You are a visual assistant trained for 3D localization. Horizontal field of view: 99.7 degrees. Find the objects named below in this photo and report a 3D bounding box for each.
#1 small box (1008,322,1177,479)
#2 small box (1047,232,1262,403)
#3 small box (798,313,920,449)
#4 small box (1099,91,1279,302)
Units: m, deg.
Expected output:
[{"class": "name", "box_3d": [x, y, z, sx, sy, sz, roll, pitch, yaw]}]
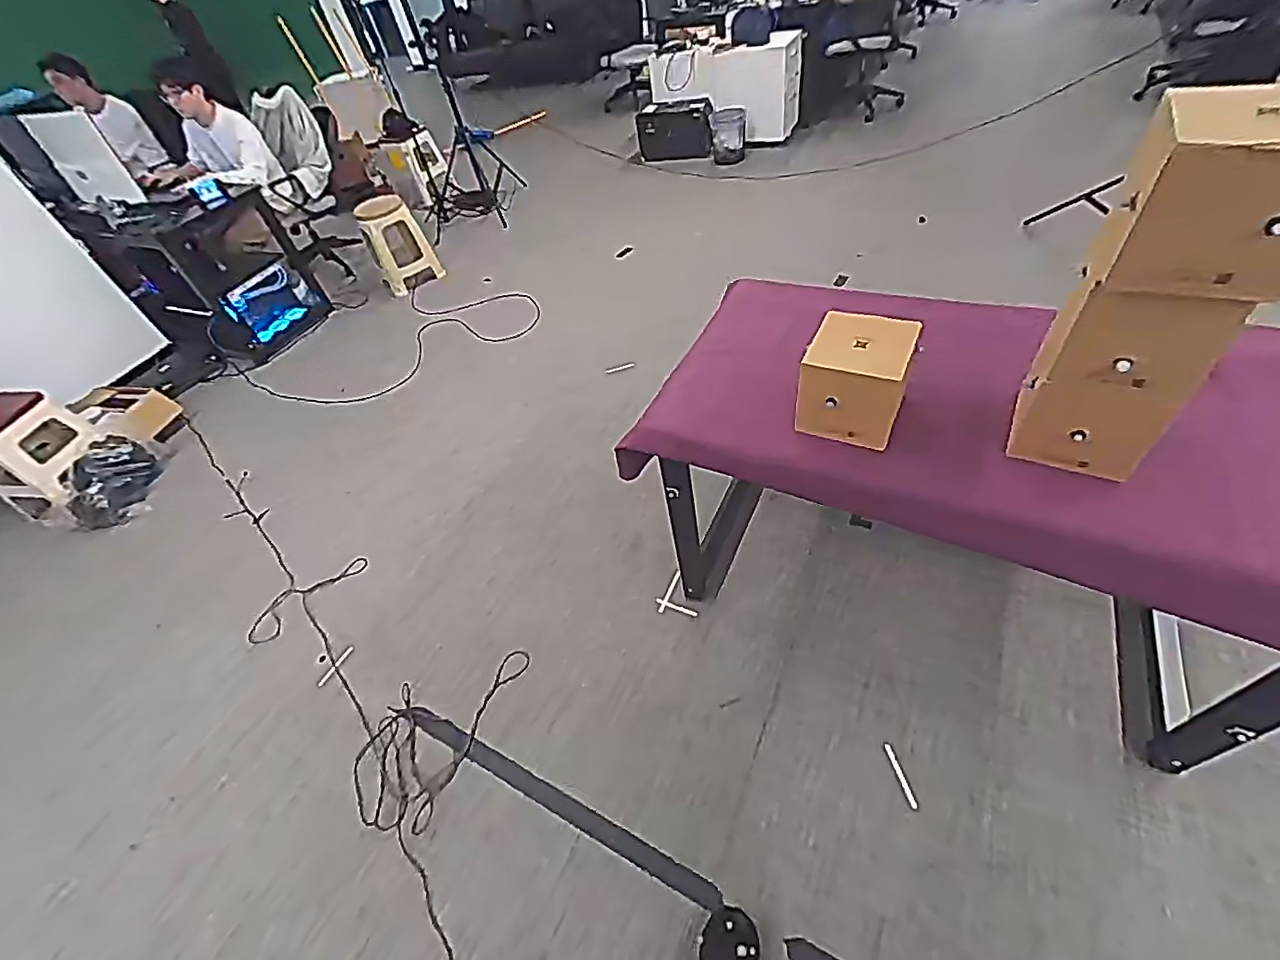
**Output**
[{"class": "small box", "box_3d": [0.729, -0.128, 0.884, 0.168, 0.176, 0.179, 19, 55, 25]}, {"class": "small box", "box_3d": [0.708, -0.239, 0.764, 0.168, 0.176, 0.179, 18, 55, 26]}, {"class": "small box", "box_3d": [0.398, -0.183, 1.003, 0.168, 0.176, 0.179, 17, 53, 24]}, {"class": "small box", "box_3d": [0.675, -0.329, 0.632, 0.168, 0.176, 0.179, 16, 53, 23]}]
